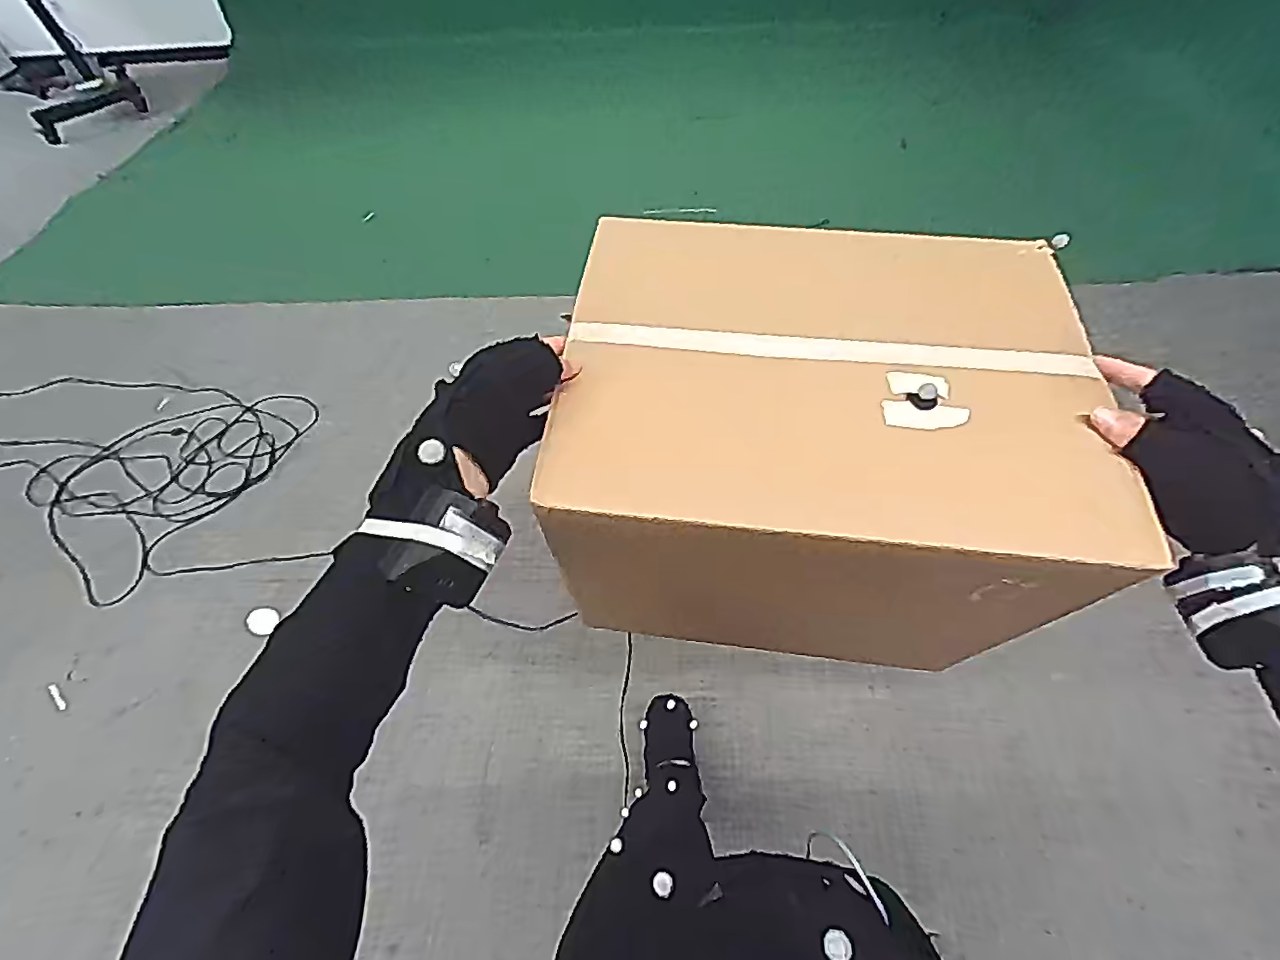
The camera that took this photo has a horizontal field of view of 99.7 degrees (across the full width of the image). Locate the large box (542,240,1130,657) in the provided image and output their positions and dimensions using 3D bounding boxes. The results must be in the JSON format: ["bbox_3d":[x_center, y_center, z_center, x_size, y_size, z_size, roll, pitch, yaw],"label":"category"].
[{"bbox_3d":[0.143,-0.018,0.569,0.408,0.320,0.320,5,61,5],"label":"large box"}]
